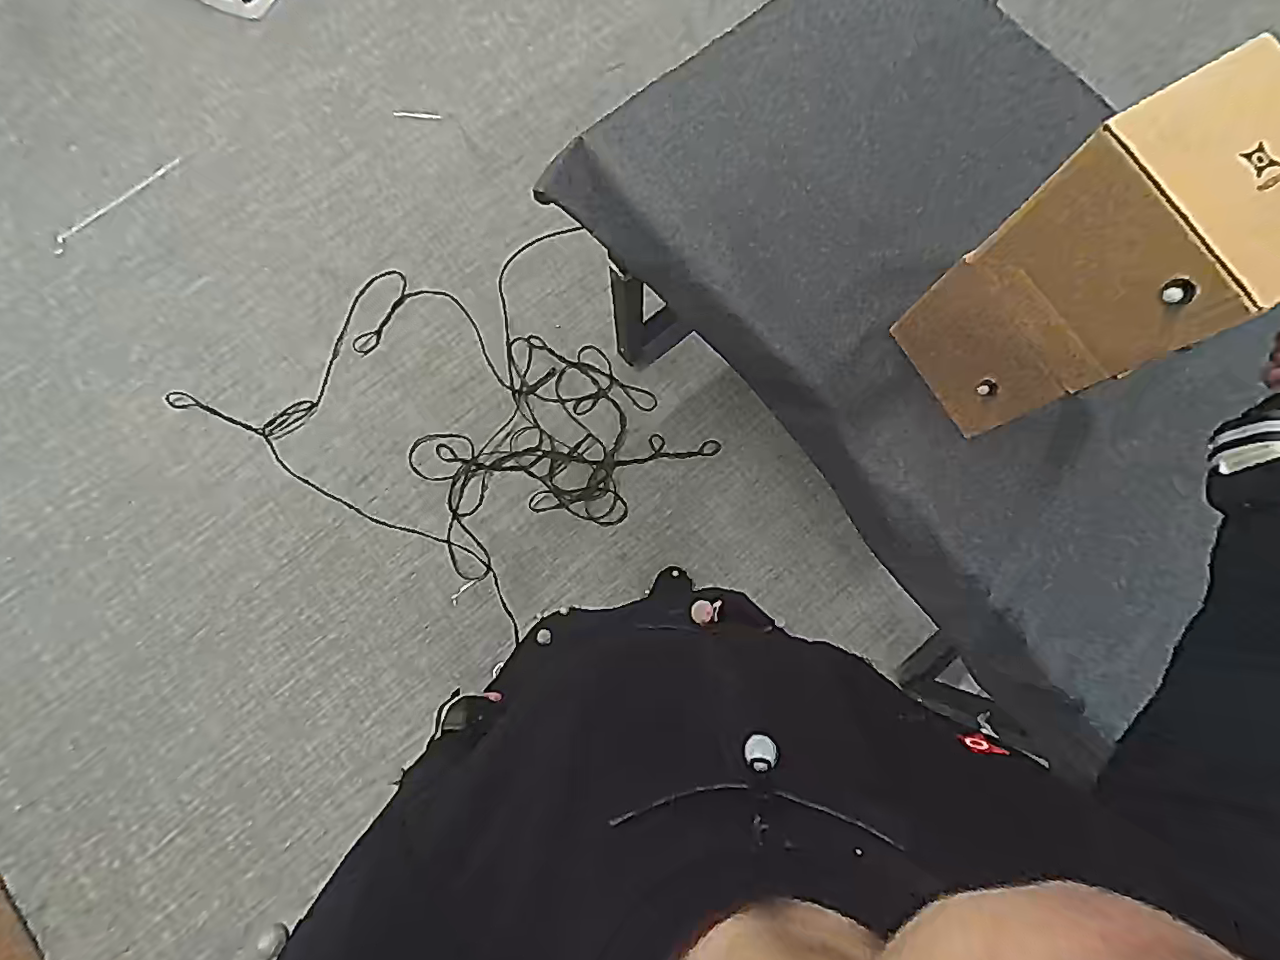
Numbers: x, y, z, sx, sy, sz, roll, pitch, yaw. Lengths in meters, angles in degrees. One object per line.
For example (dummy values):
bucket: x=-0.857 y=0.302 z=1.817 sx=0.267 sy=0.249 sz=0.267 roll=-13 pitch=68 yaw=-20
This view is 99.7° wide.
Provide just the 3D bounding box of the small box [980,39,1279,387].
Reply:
small box: x=0.450 y=-0.211 z=0.469 sx=0.168 sy=0.176 sz=0.179 roll=-30 pitch=82 yaw=-7

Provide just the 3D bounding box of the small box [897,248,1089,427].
small box: x=0.445 y=-0.179 z=0.628 sx=0.168 sy=0.176 sz=0.179 roll=-30 pitch=80 yaw=-7
